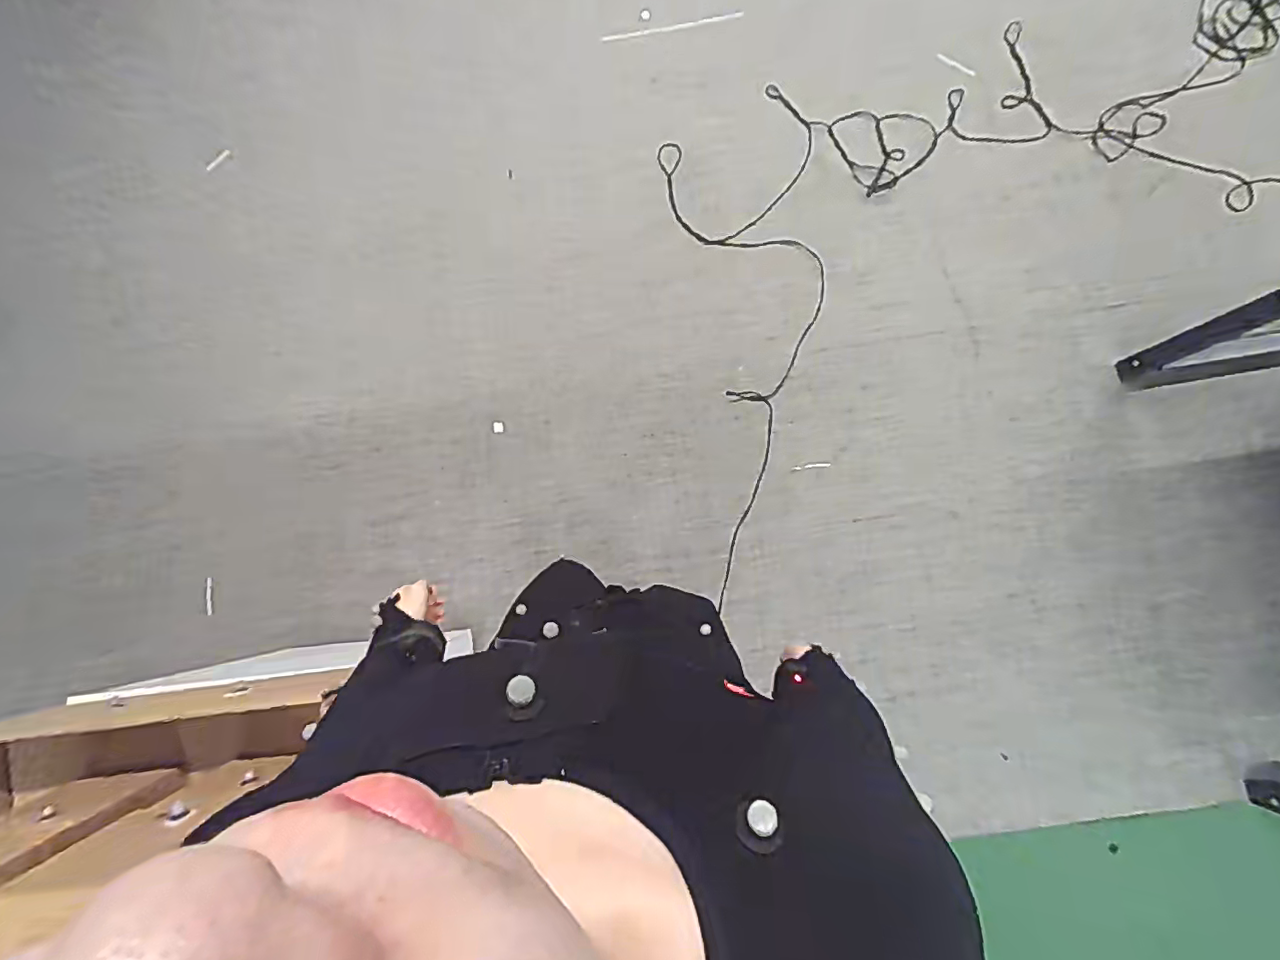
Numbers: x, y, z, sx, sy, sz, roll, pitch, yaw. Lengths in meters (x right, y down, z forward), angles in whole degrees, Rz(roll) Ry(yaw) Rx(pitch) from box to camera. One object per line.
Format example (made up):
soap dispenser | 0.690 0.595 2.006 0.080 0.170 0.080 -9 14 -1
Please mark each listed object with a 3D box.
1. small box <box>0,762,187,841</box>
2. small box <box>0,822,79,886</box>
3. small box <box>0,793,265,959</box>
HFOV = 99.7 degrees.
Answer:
small box | -0.794 0.539 0.775 0.168 0.176 0.179 -7 87 -2
small box | -0.790 0.531 0.612 0.168 0.176 0.179 -9 86 -1
small box | -0.559 0.491 0.608 0.168 0.176 0.179 -8 86 1
